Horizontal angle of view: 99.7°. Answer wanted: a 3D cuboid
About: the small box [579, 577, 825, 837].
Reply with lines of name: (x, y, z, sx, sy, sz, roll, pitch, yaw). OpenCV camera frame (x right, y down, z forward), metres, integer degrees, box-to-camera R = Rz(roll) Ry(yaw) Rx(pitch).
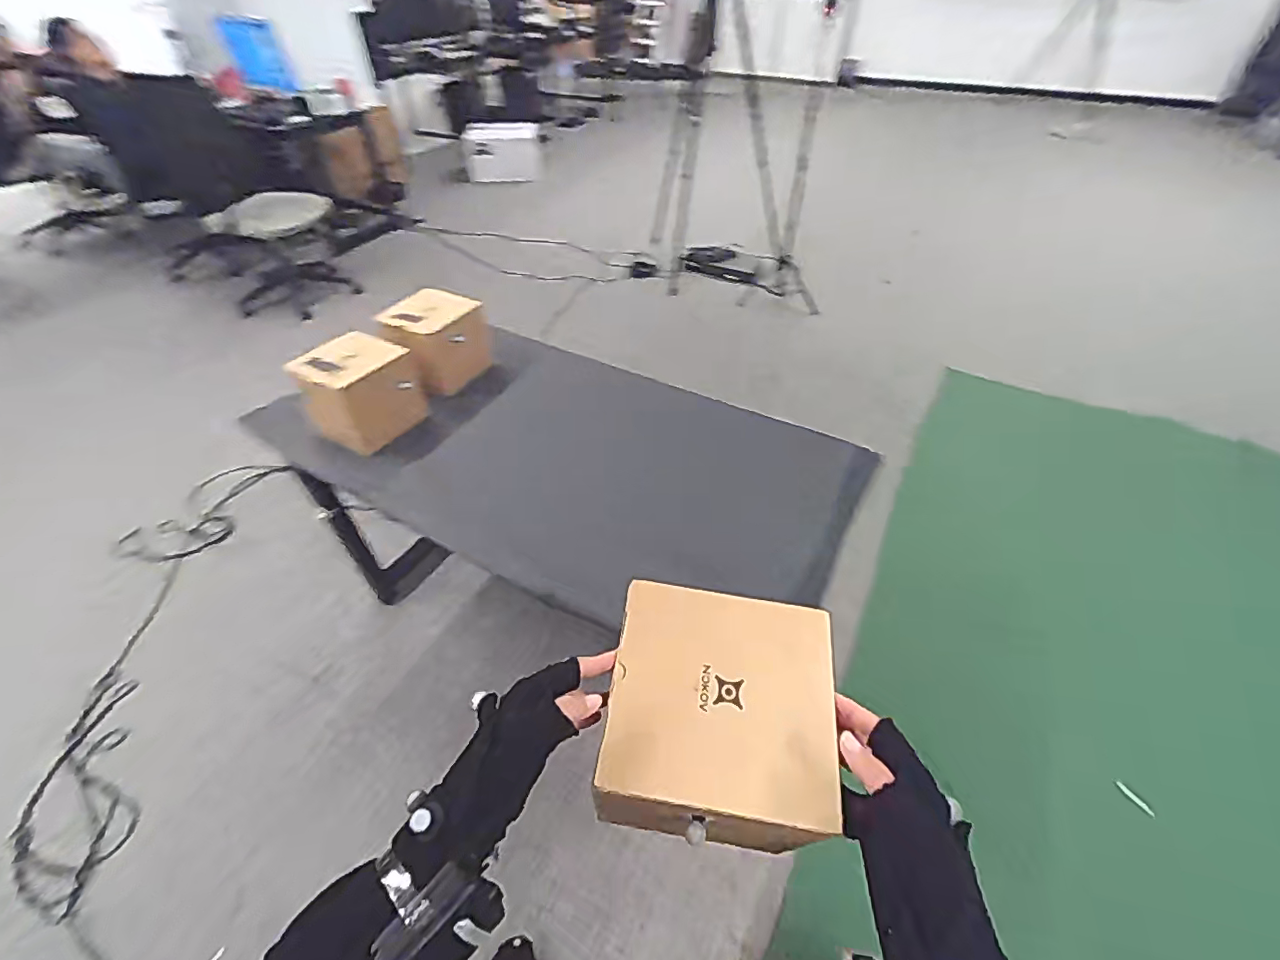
small box: (0.050, 0.209, 0.487, 0.179, 0.176, 0.168, 7, 52, 4)

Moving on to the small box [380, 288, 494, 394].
small box: (-0.474, -0.331, 1.296, 0.168, 0.176, 0.179, 21, 49, 20)
